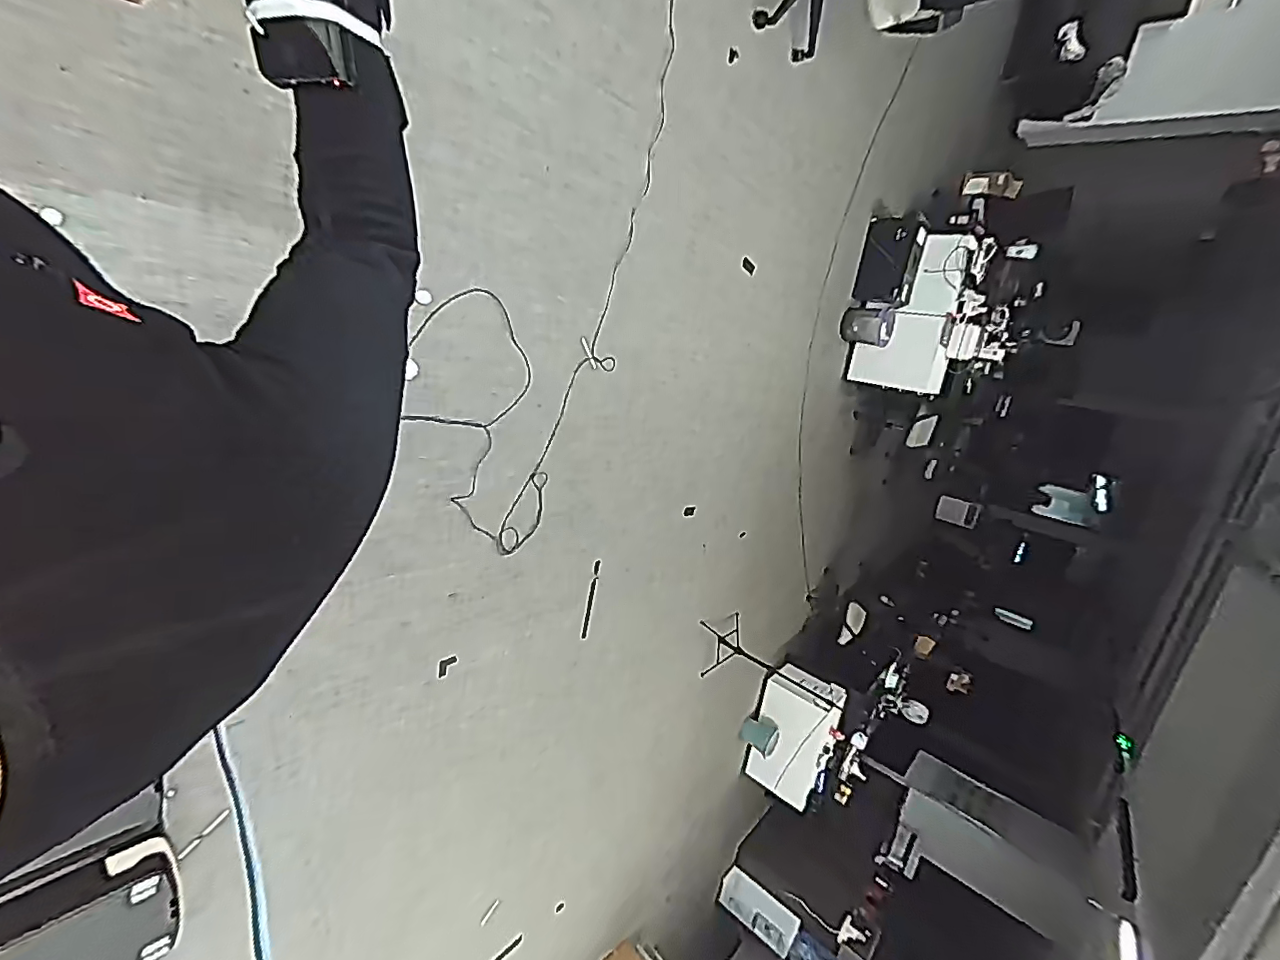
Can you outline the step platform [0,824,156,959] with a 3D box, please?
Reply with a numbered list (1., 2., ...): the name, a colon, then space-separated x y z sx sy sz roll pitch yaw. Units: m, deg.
1. step platform: -1.423 1.035 1.079 0.684 0.204 0.286 -10 114 -48
